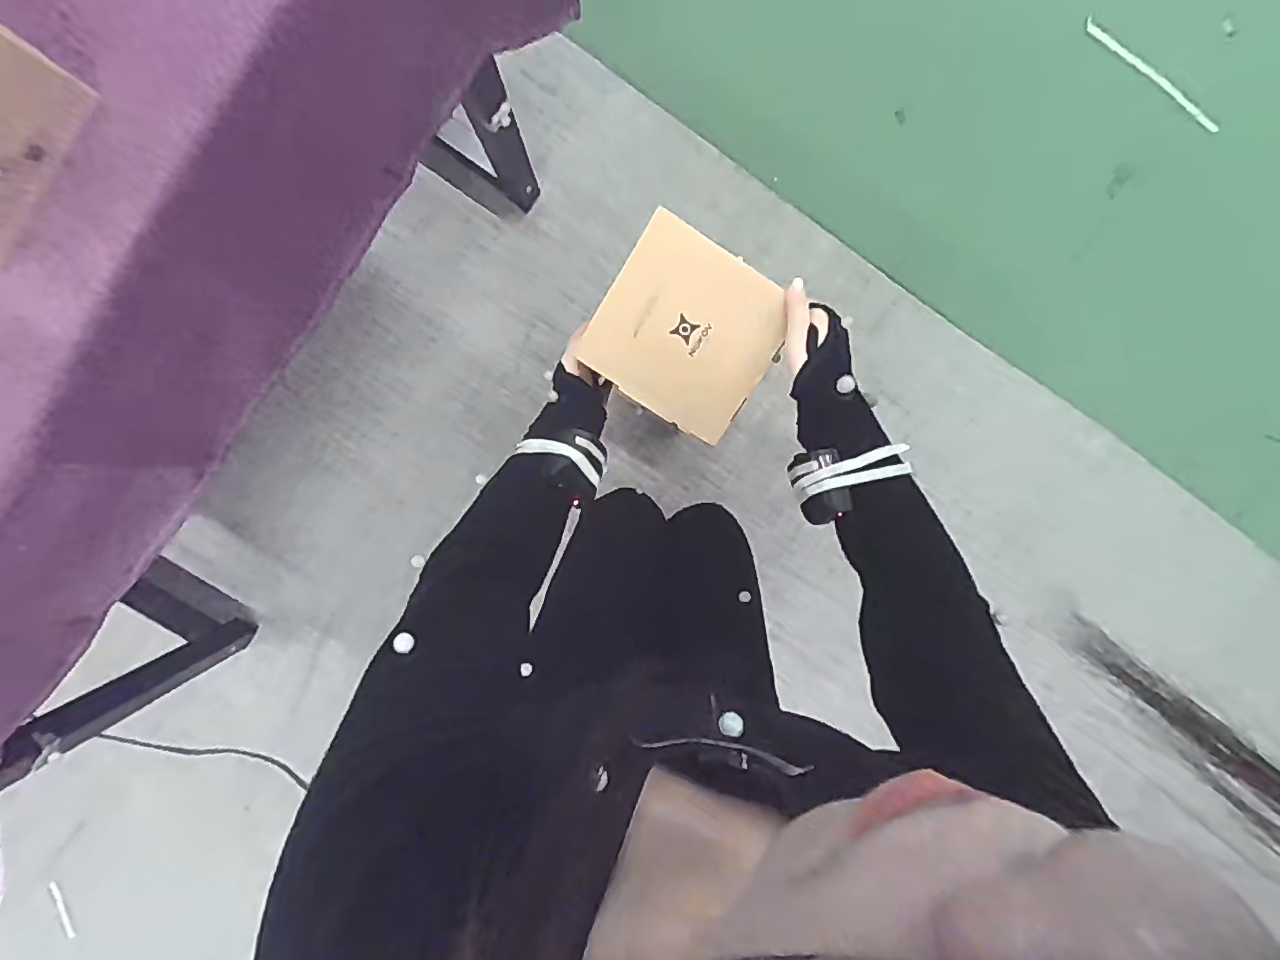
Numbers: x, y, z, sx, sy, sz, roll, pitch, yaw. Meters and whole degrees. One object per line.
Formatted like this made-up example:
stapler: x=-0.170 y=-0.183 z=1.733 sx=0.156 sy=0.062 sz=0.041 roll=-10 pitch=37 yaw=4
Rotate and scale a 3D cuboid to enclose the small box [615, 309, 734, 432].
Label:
small box: x=0.065 y=-0.212 z=1.097 sx=0.168 sy=0.176 sz=0.179 roll=32 pitch=93 yaw=-5
